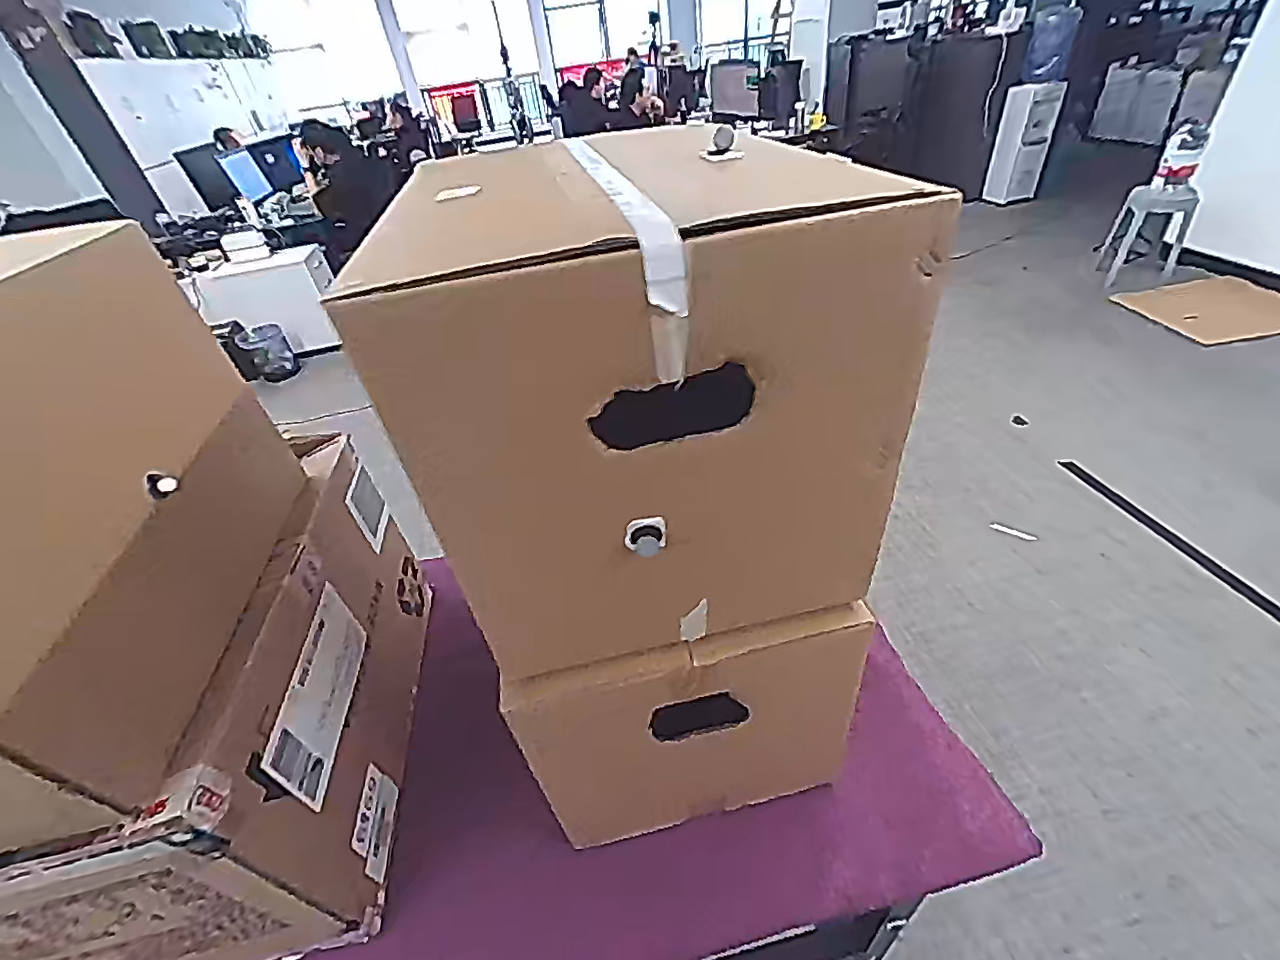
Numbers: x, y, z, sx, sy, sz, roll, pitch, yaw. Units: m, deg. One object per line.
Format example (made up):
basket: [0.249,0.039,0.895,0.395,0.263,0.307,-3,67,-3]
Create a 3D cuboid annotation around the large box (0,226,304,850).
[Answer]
large box: [-0.541,0.033,0.428,0.320,0.320,0.408,-14,40,-4]
